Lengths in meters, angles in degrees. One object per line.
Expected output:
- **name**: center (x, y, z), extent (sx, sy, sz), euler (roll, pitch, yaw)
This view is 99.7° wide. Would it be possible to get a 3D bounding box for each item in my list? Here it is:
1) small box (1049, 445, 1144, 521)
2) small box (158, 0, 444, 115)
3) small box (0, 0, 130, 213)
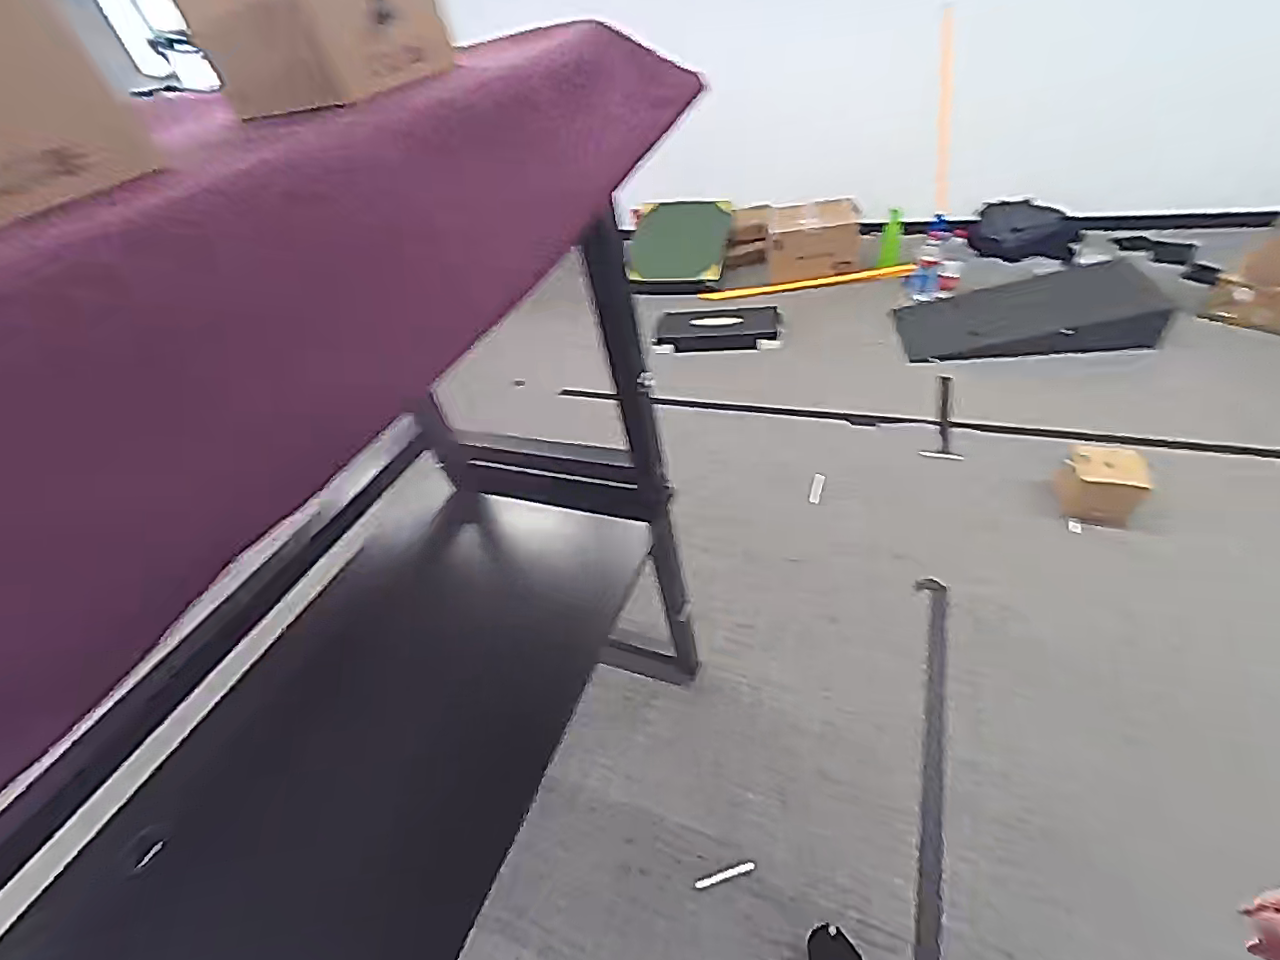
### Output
- **small box**: center (1.460, 0.011, 1.740), extent (0.179, 0.176, 0.168), euler (9, 47, 20)
- **small box**: center (-0.322, -0.455, 0.497), extent (0.179, 0.176, 0.168), euler (12, 49, 24)
- **small box**: center (-0.457, -0.229, 0.295), extent (0.179, 0.176, 0.168), euler (4, 45, 19)
